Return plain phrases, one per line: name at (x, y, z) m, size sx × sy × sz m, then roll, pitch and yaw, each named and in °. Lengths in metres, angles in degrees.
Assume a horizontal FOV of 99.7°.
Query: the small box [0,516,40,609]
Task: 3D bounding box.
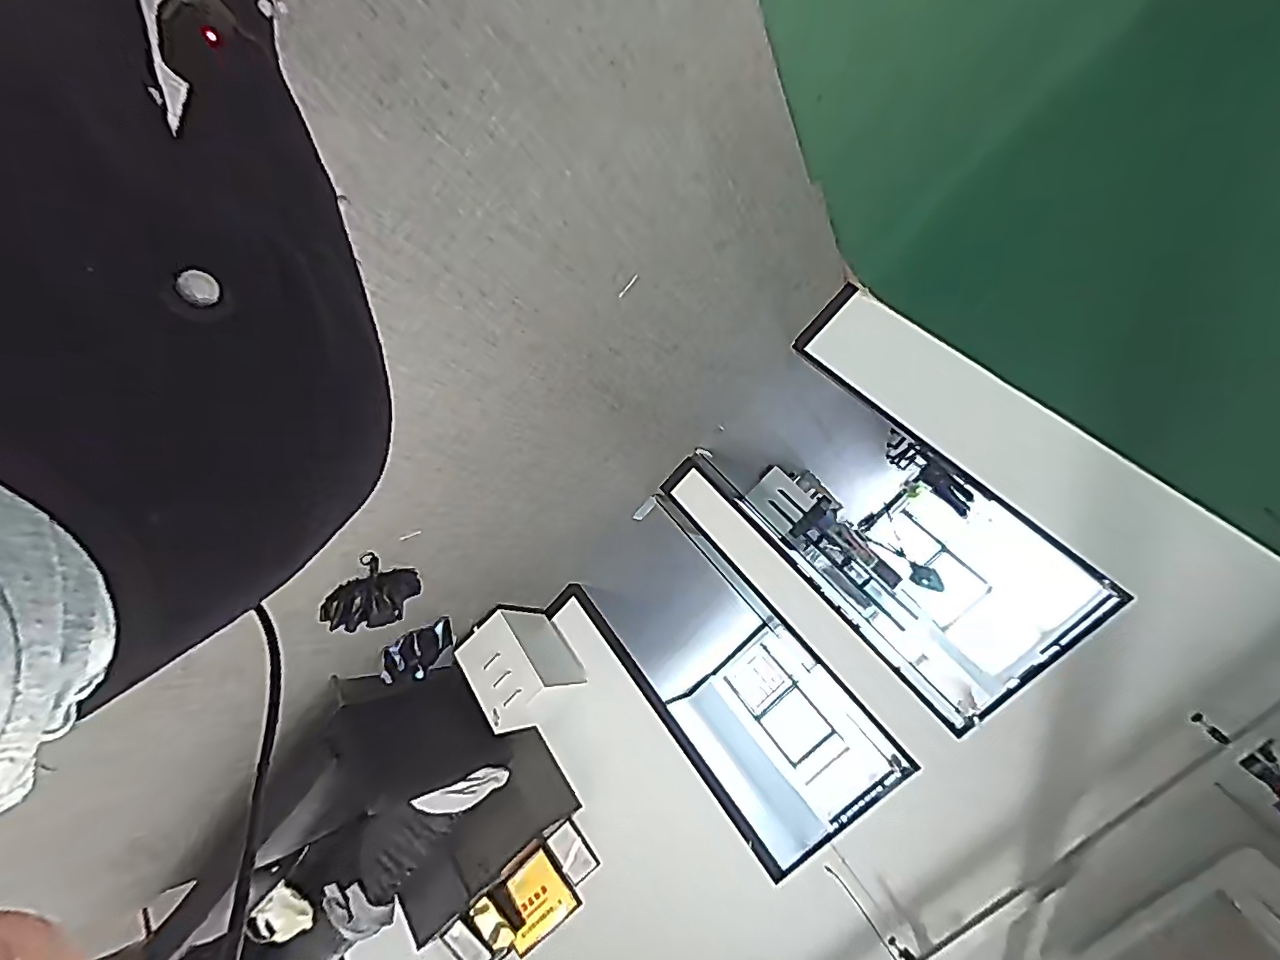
small box at (-1.642, 0.194, 1.327) m, size 0.179 × 0.176 × 0.168 m, roll -47°, pitch 153°, yaw 8°
